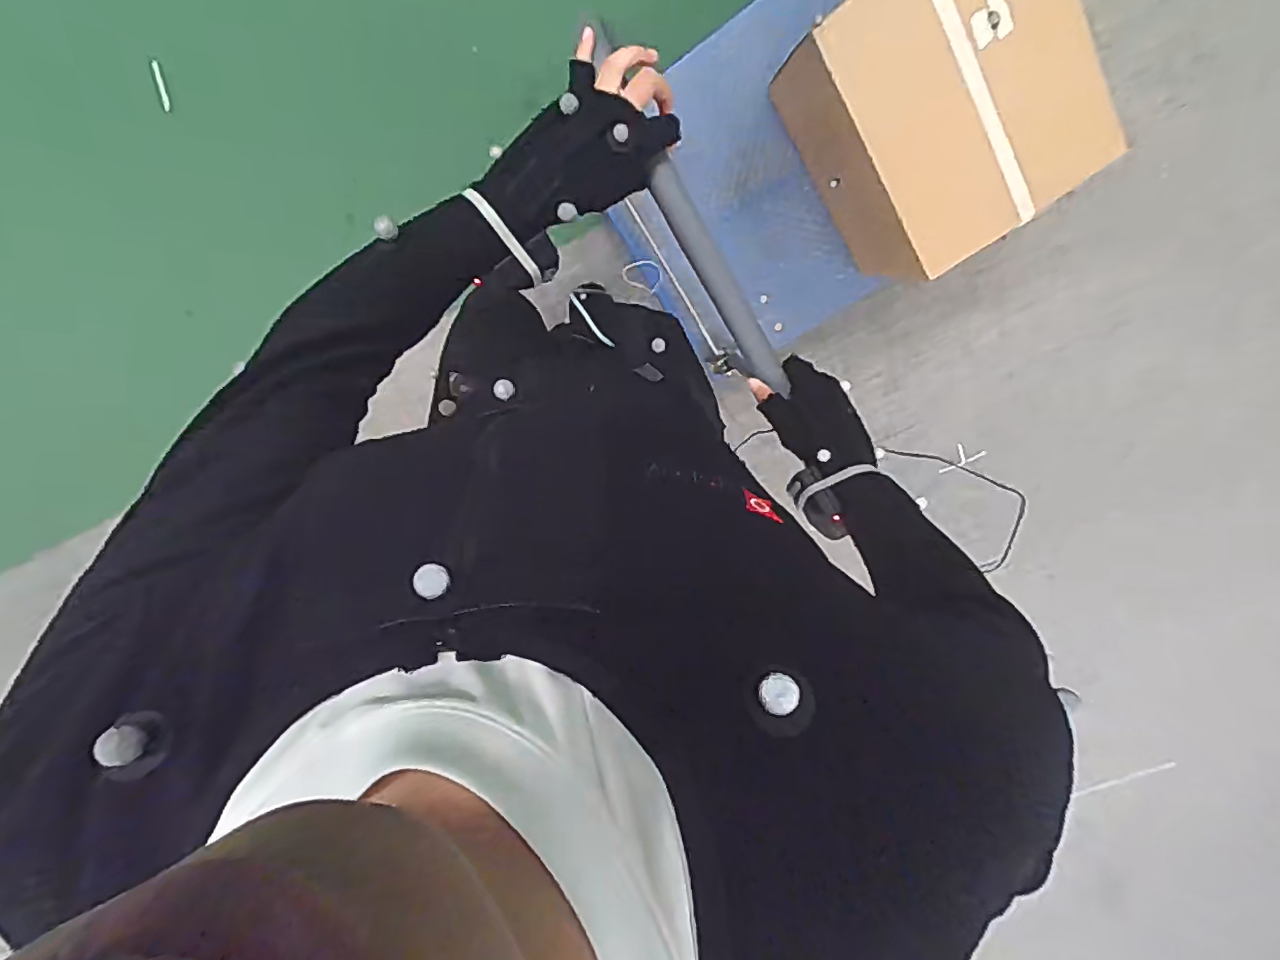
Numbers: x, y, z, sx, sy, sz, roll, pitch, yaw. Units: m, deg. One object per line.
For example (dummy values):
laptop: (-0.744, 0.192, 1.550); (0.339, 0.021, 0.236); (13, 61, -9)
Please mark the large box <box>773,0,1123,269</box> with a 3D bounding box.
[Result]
large box: (0.480, -0.624, 0.912); (0.320, 0.320, 0.408); (-33, 108, 14)
